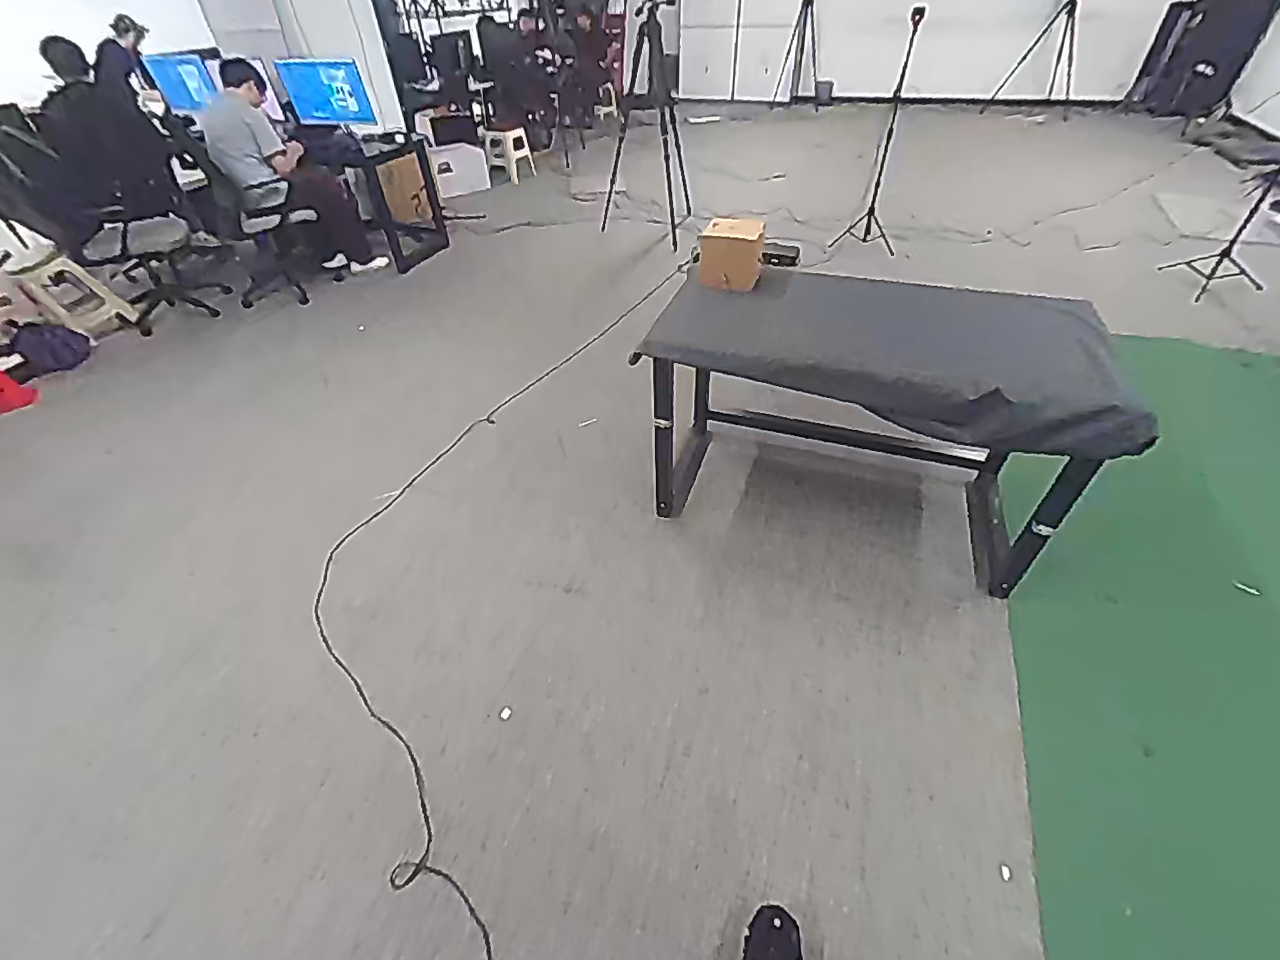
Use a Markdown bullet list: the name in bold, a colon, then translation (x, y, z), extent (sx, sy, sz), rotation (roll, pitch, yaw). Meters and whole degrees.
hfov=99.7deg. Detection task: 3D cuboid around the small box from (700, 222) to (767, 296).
- **small box**: translation (0.303, -0.721, 1.768), extent (0.179, 0.176, 0.168), rotation (13, 45, 15)
